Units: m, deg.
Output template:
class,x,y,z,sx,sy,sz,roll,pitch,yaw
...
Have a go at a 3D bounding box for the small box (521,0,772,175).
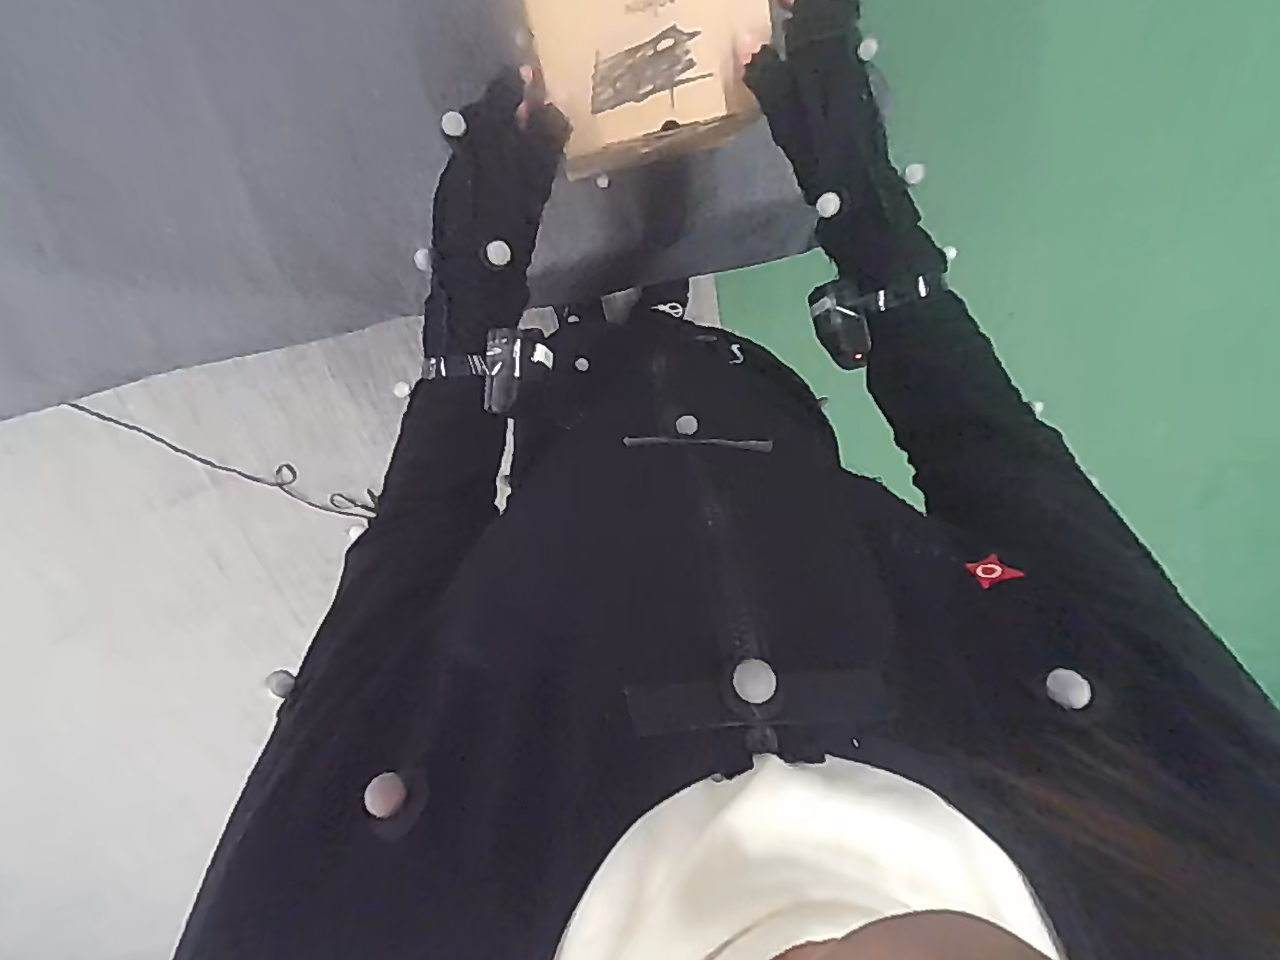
class,x,y,z,sx,sy,sz,roll,pitch,yaw
small box,-0.005,-0.362,0.437,0.168,0.176,0.179,-13,114,0
